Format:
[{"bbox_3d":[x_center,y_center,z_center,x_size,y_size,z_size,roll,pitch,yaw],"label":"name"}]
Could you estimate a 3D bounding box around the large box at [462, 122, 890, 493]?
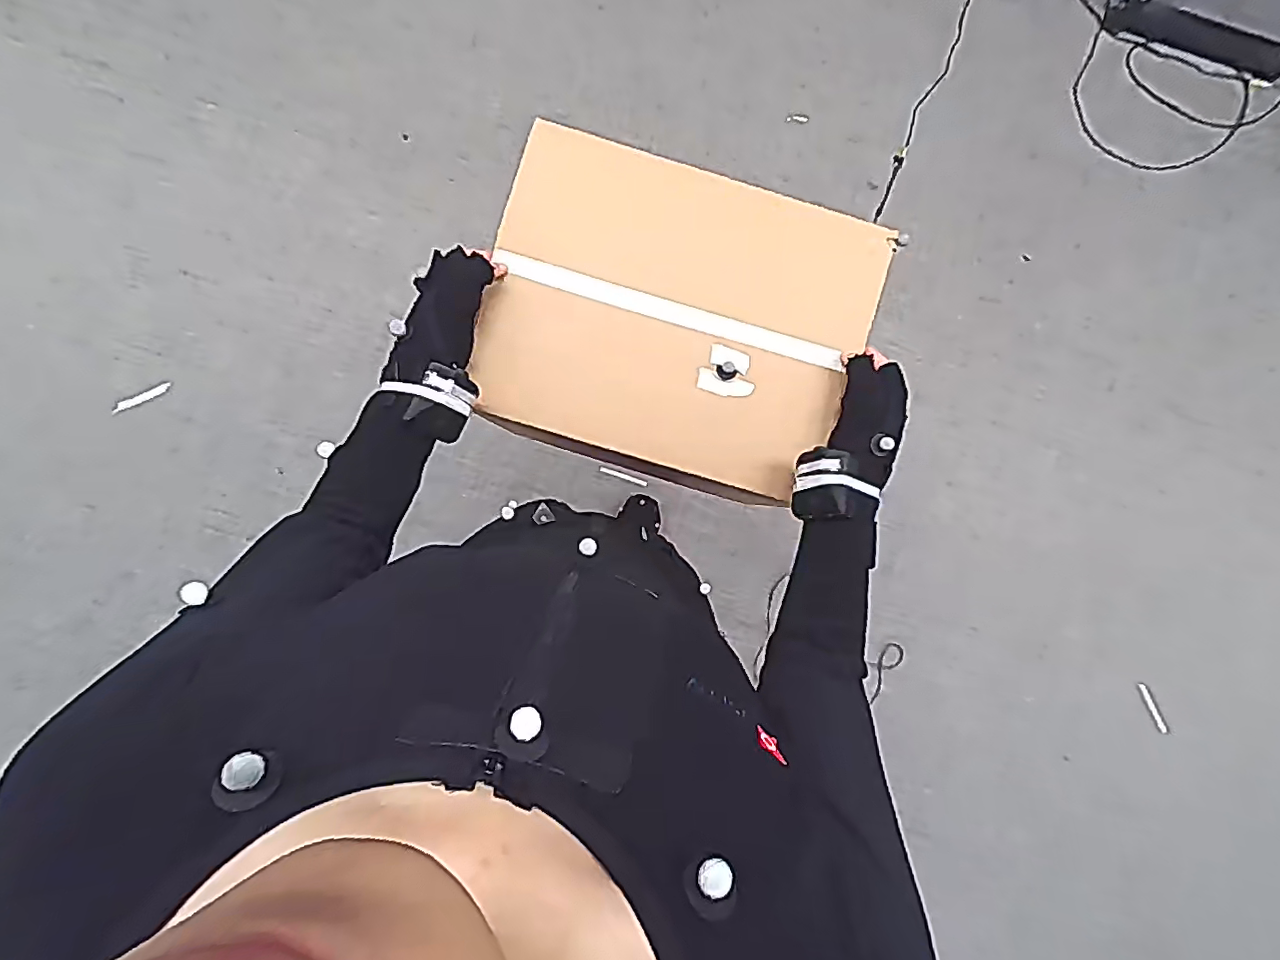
[{"bbox_3d":[0.034,-0.180,0.721,0.408,0.320,0.320,16,89,-2],"label":"large box"}]
